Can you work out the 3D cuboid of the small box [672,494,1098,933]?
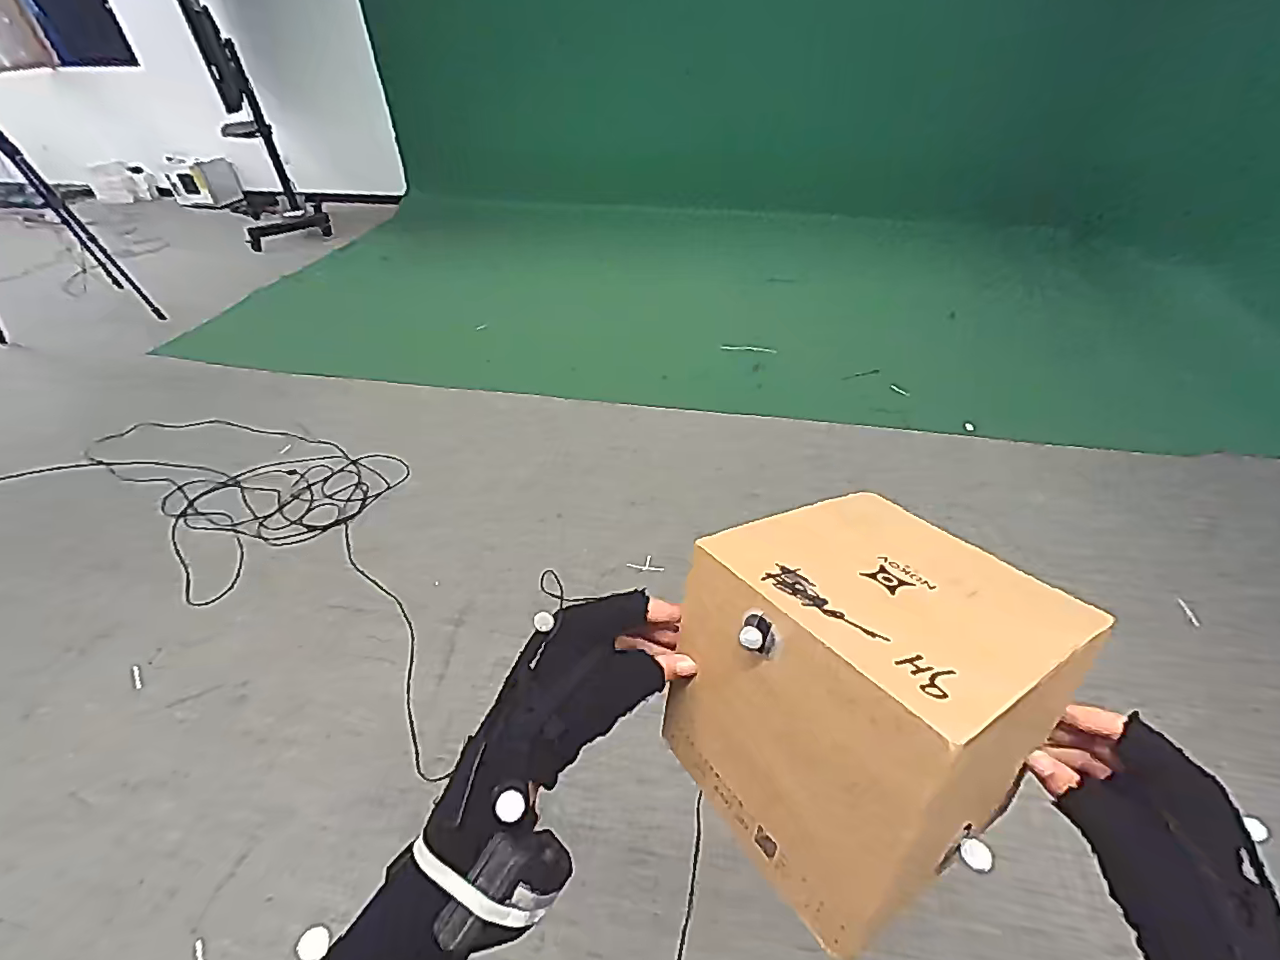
[{"bbox_3d":[0.140,0.130,0.356,0.179,0.176,0.168,-10,29,-32],"label":"small box"}]
